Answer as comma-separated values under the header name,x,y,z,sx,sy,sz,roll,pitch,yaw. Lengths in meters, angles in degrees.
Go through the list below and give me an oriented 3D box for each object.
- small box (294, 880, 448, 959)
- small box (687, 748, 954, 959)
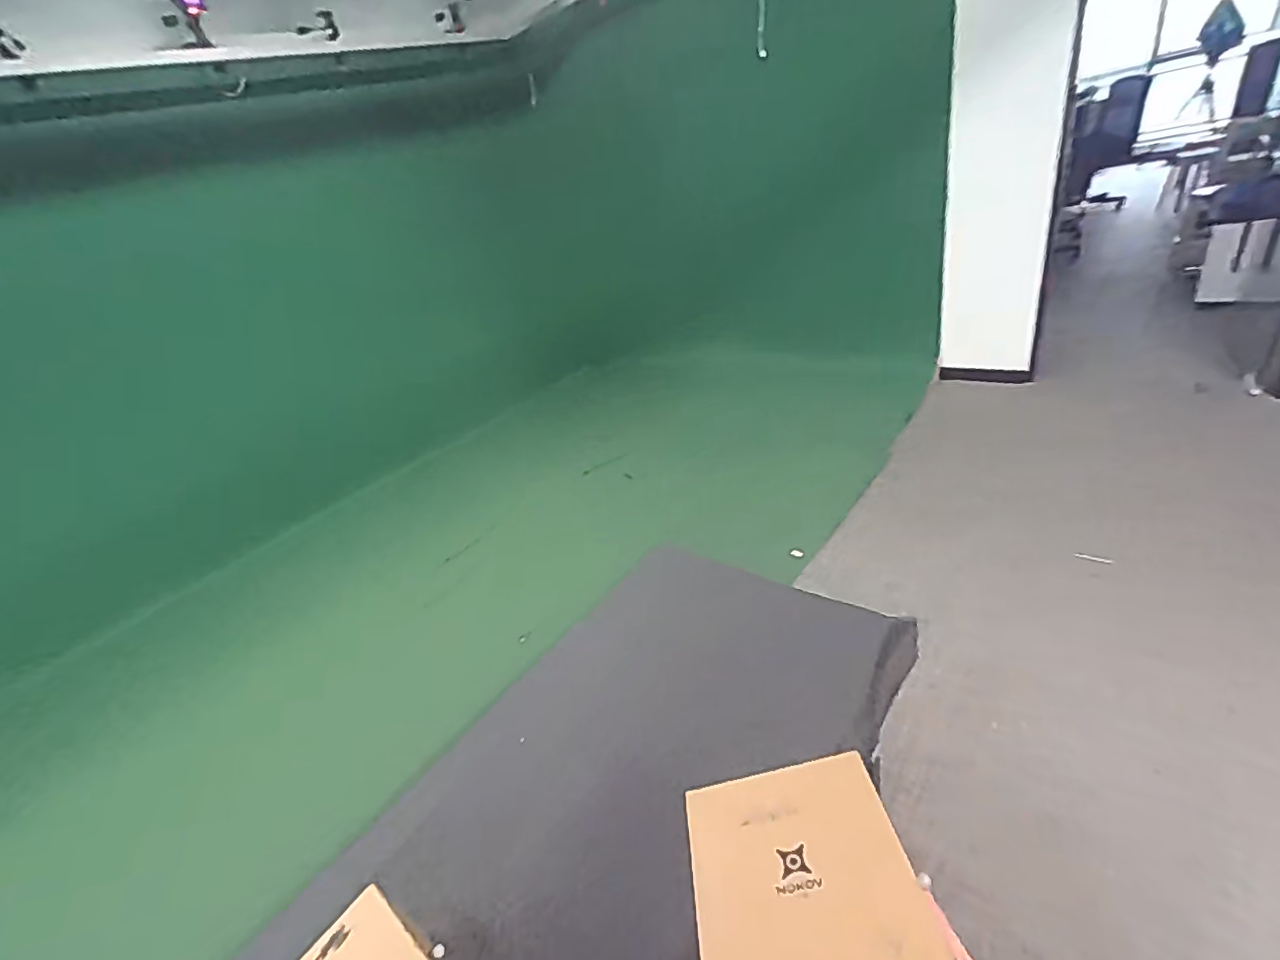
name,x,y,z,sx,sy,sz,roll,pitch,yaw
small box,-0.322,0.651,0.657,0.179,0.176,0.168,13,40,38
small box,0.146,0.368,0.446,0.168,0.176,0.179,-16,19,5
